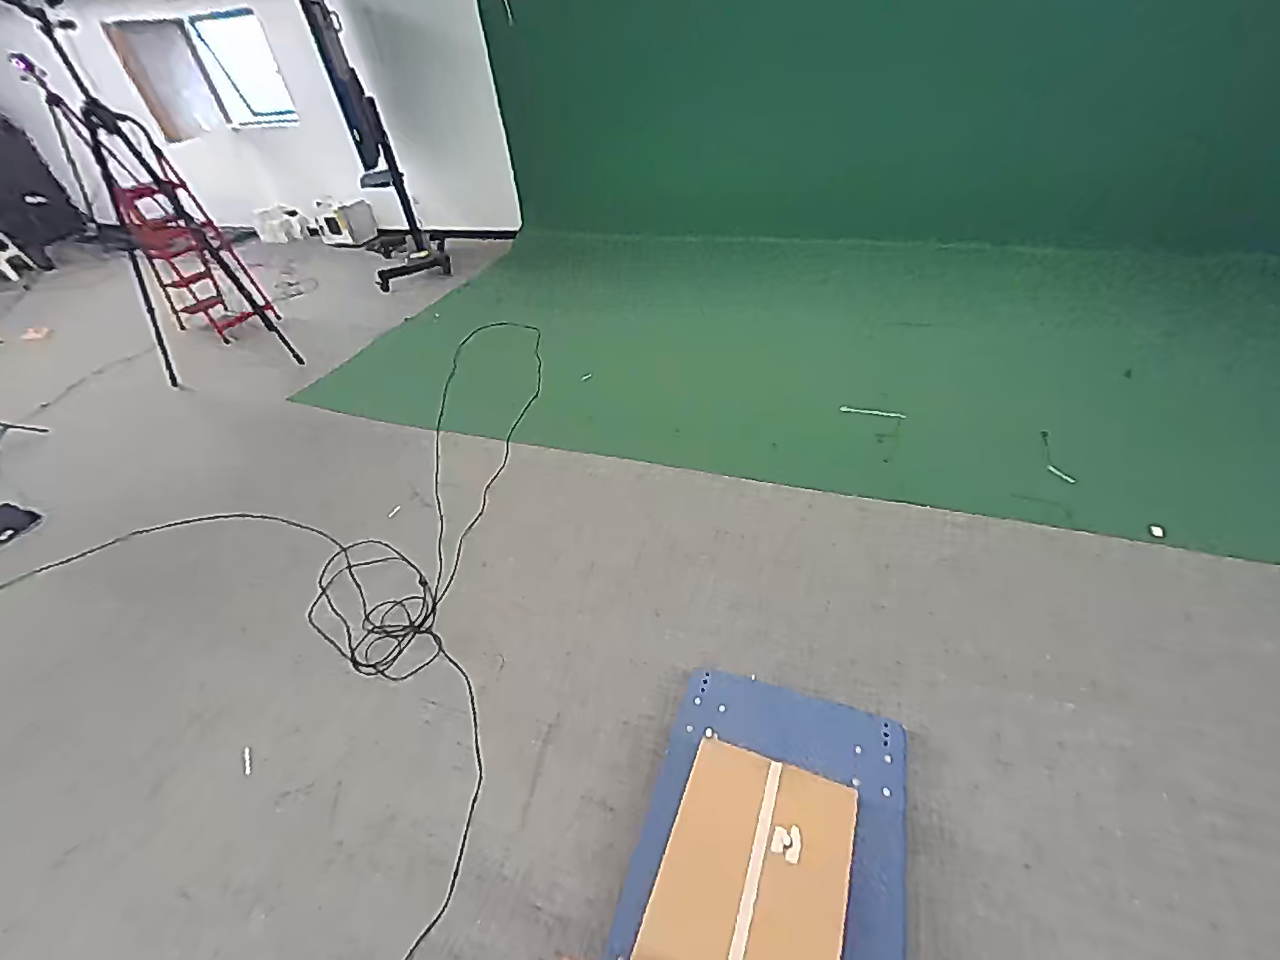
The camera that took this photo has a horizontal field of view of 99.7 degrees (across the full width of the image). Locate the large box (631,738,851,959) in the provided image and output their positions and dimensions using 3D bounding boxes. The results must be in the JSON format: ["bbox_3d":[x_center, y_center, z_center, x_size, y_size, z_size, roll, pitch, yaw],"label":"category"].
[{"bbox_3d":[0.206,0.809,1.053,0.320,0.320,0.408,12,43,20],"label":"large box"}]
